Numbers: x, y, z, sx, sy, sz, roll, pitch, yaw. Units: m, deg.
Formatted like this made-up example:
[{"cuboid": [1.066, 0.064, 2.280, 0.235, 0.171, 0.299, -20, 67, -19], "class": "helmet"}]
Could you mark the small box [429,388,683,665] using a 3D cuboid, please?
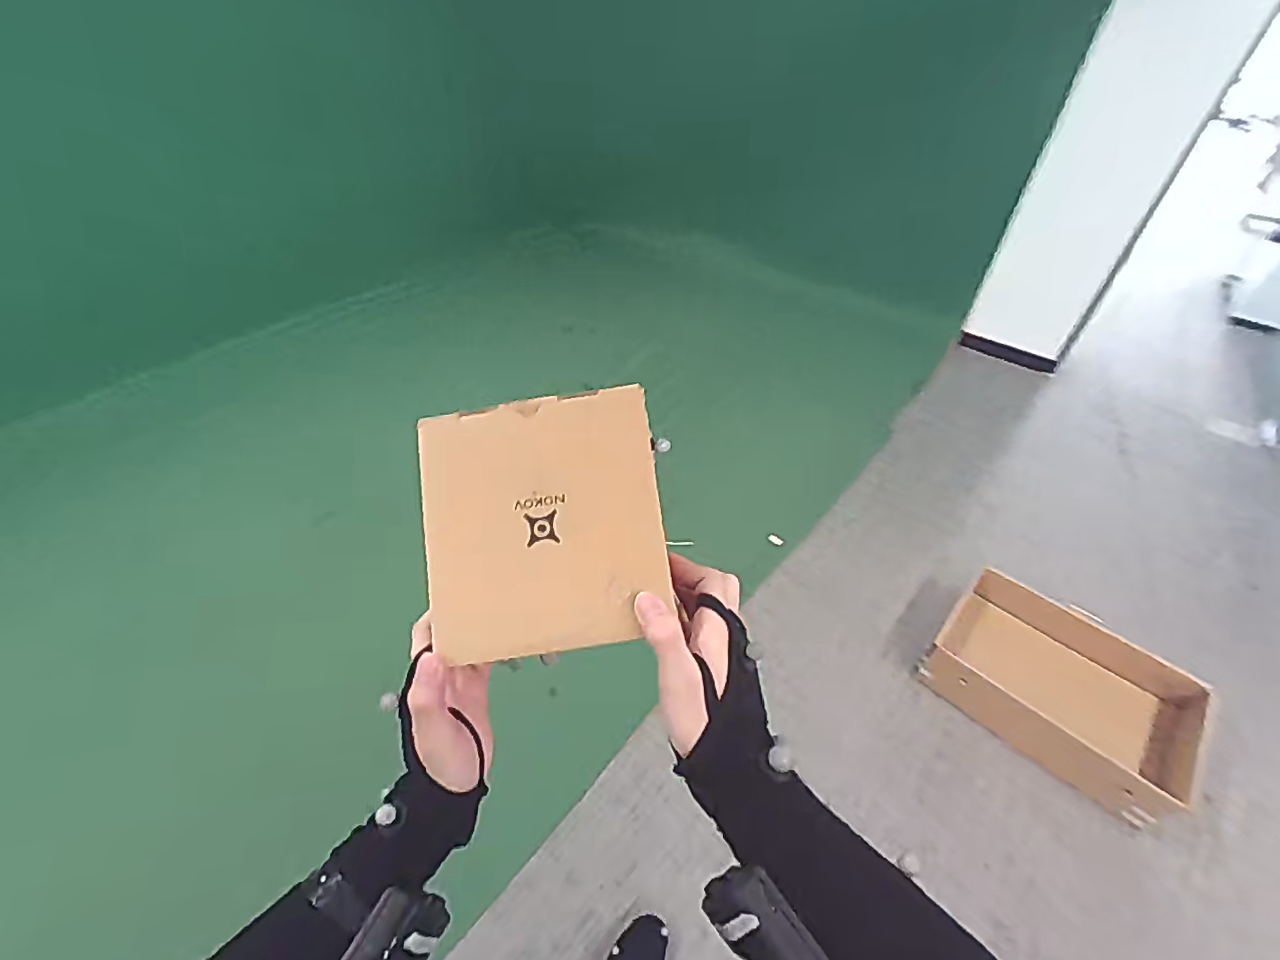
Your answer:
[{"cuboid": [-0.056, 0.044, 0.452, 0.168, 0.176, 0.179, -9, 78, 3], "class": "small box"}]
